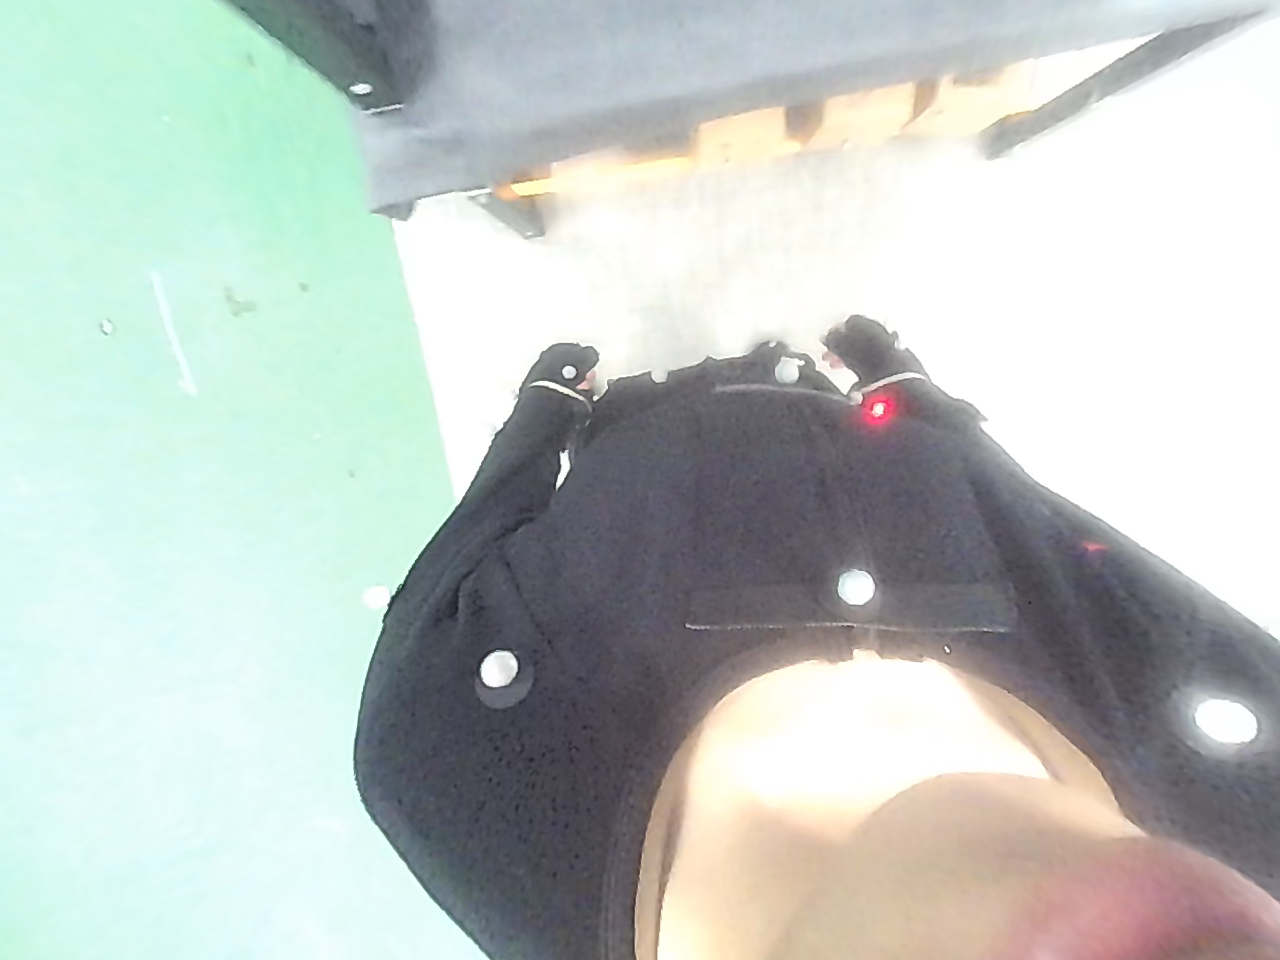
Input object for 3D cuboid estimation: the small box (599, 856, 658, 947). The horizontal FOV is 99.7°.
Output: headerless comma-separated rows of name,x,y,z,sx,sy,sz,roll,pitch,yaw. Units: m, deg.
small box,-0.033,1.359,1.757,0.168,0.176,0.179,-8,104,5
